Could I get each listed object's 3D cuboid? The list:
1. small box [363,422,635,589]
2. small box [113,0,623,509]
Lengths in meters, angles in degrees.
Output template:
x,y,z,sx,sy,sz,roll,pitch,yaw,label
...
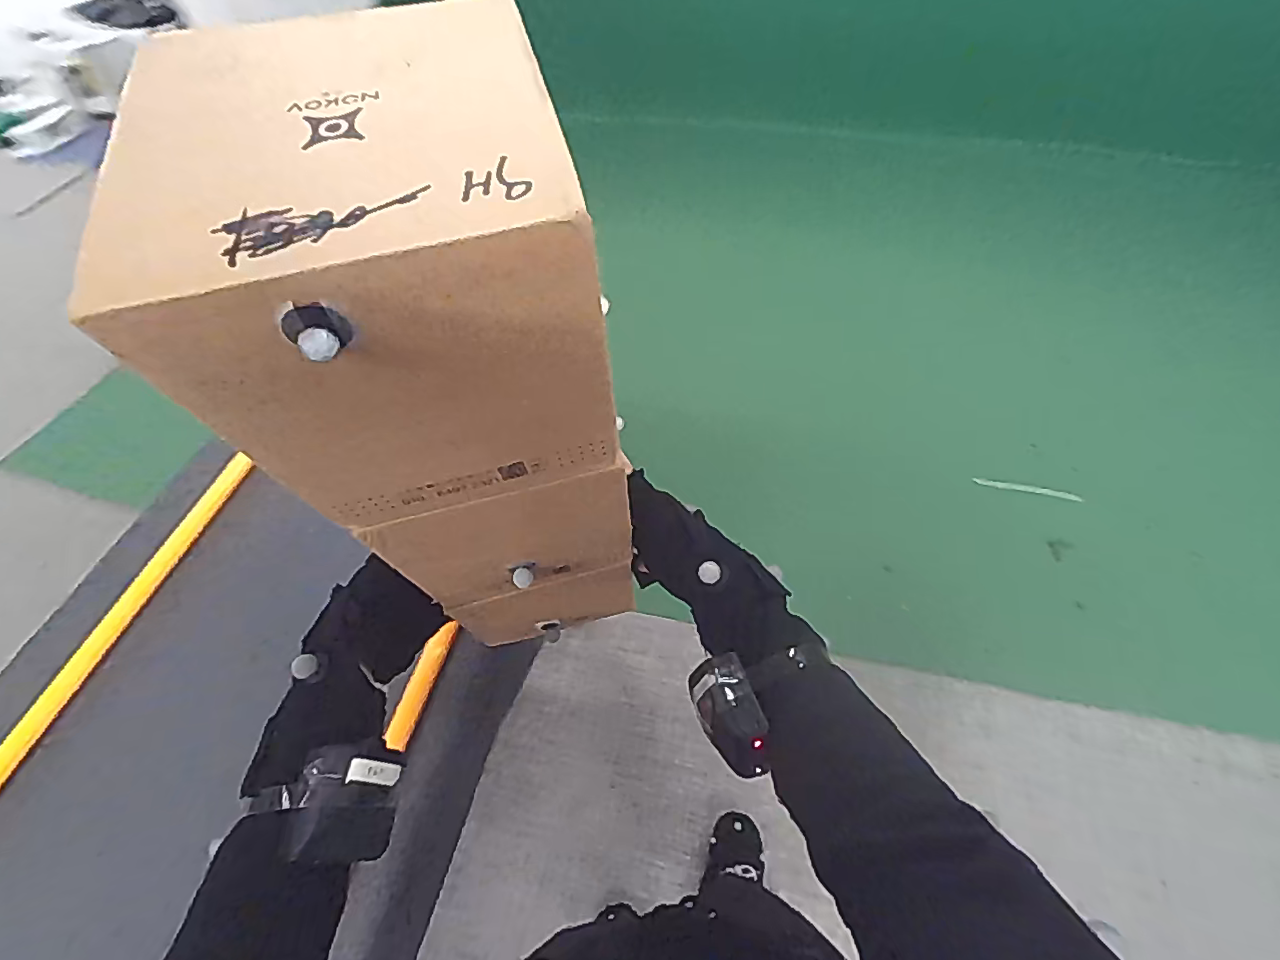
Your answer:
x,y,z,sx,sy,sz,roll,pitch,yaw,label
-0.101,-0.032,0.435,0.168,0.176,0.179,-12,64,-5,small box
-0.108,-0.109,0.291,0.168,0.176,0.179,-13,62,-5,small box
